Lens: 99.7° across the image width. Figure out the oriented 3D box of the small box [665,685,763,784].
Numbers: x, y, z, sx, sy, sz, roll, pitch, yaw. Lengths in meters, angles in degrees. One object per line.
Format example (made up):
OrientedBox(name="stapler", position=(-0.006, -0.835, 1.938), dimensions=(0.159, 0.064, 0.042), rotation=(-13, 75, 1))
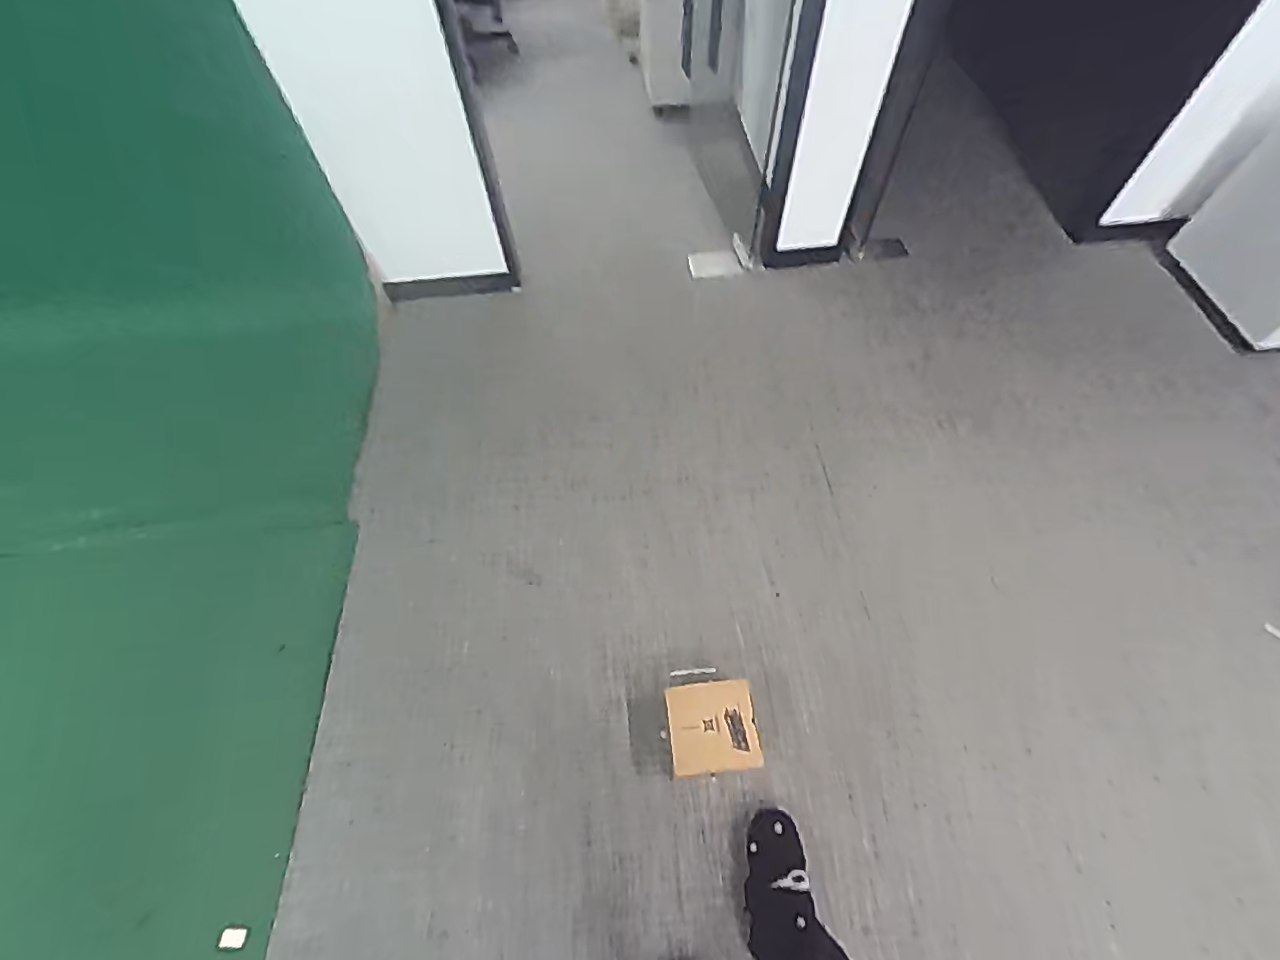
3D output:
OrientedBox(name="small box", position=(0.147, 0.541, 1.146), dimensions=(0.179, 0.176, 0.168), rotation=(-6, 58, 0))
